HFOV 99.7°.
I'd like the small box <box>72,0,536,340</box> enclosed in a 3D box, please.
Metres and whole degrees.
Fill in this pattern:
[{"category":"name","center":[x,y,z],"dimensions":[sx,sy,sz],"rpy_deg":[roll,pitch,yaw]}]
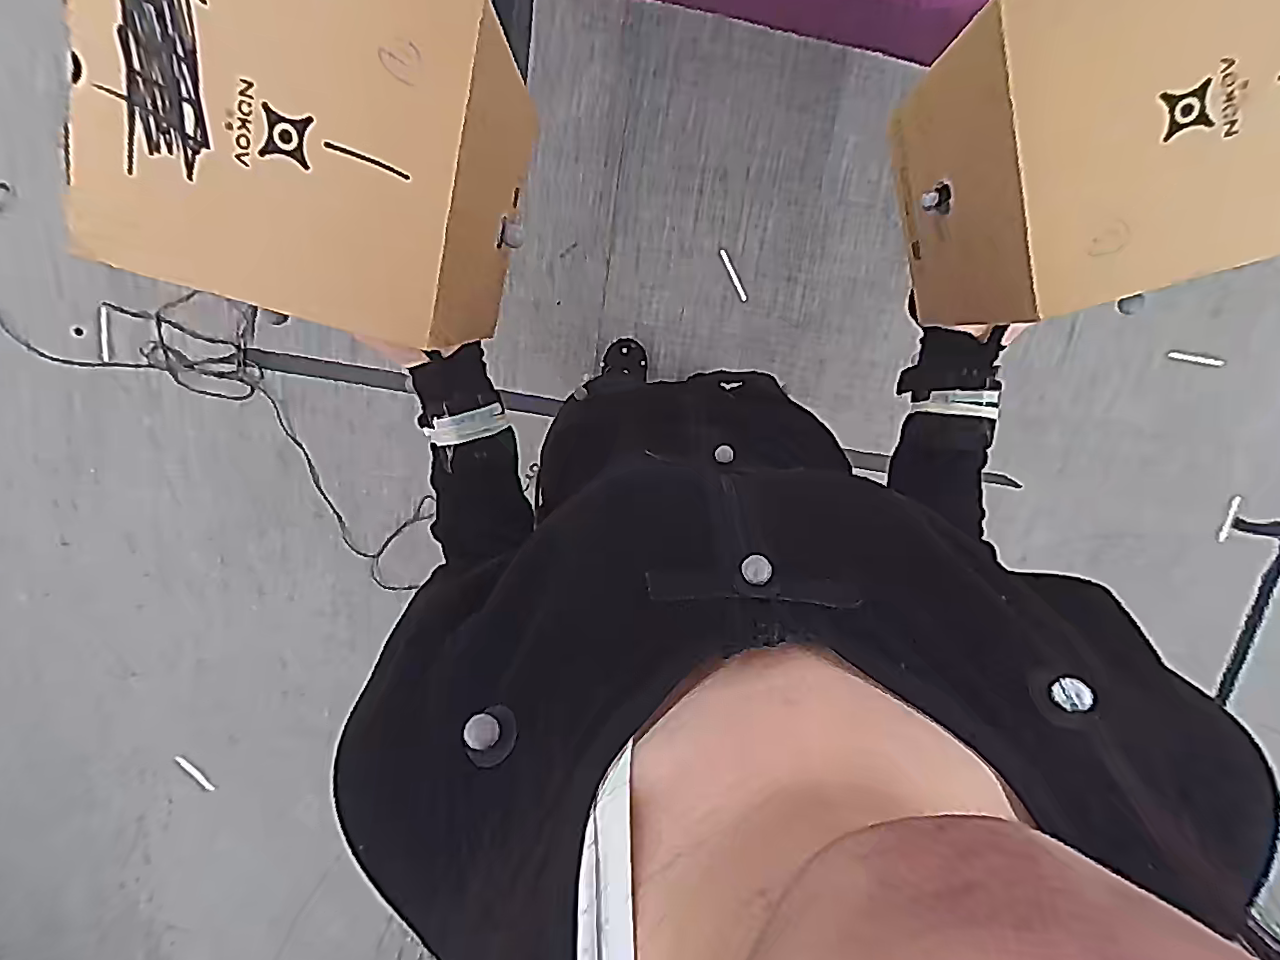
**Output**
[{"category":"small box","center":[-0.173,-0.191,0.327],"dimensions":[0.179,0.176,0.168],"rpy_deg":[14,107,-8]}]

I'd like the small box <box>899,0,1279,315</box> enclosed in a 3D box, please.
[{"category":"small box","center":[0.287,-0.210,0.348],"dimensions":[0.179,0.176,0.168],"rpy_deg":[-14,104,9]}]
